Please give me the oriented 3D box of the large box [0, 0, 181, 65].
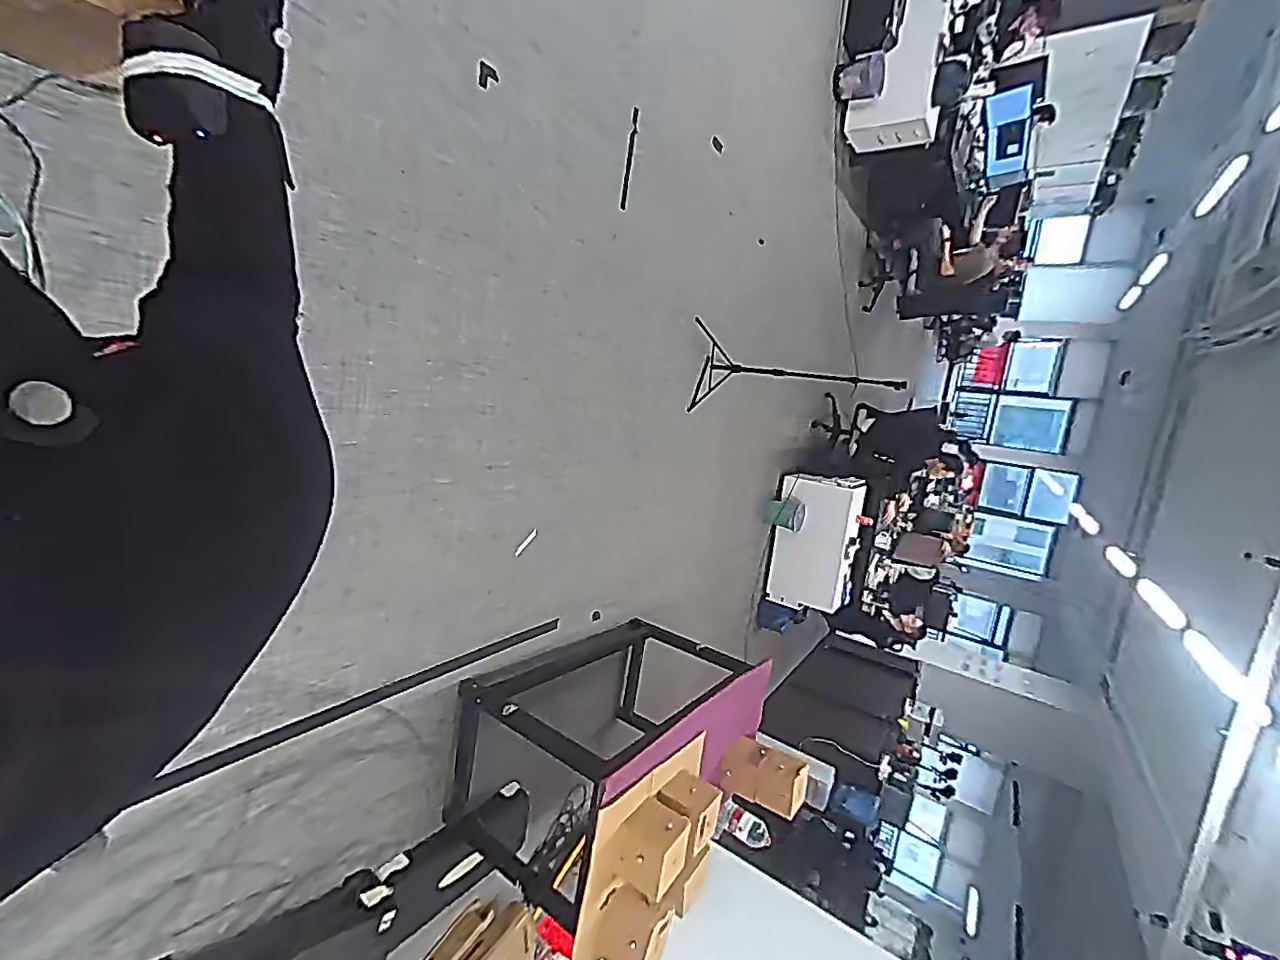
[{"bbox_3d":[-0.529,-0.498,0.270,0.408,0.320,0.320,-4,113,-57],"label":"large box"}]
